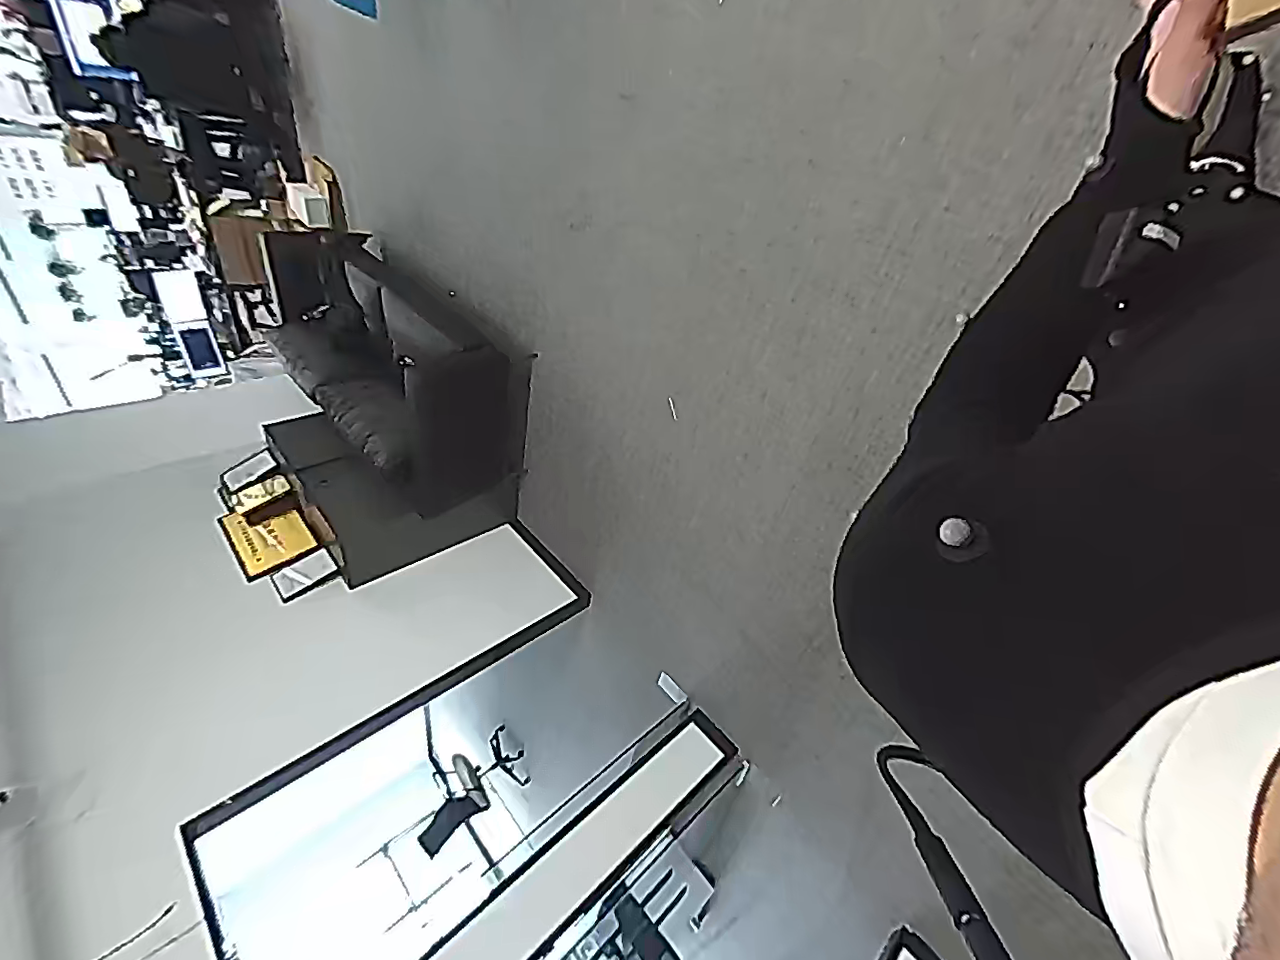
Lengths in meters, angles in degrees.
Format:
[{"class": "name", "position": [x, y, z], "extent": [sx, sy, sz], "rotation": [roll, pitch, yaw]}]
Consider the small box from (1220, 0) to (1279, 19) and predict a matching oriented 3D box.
[{"class": "small box", "position": [0.447, -0.411, 0.308], "extent": [0.168, 0.176, 0.179], "rotation": [-1, 116, 48]}]
